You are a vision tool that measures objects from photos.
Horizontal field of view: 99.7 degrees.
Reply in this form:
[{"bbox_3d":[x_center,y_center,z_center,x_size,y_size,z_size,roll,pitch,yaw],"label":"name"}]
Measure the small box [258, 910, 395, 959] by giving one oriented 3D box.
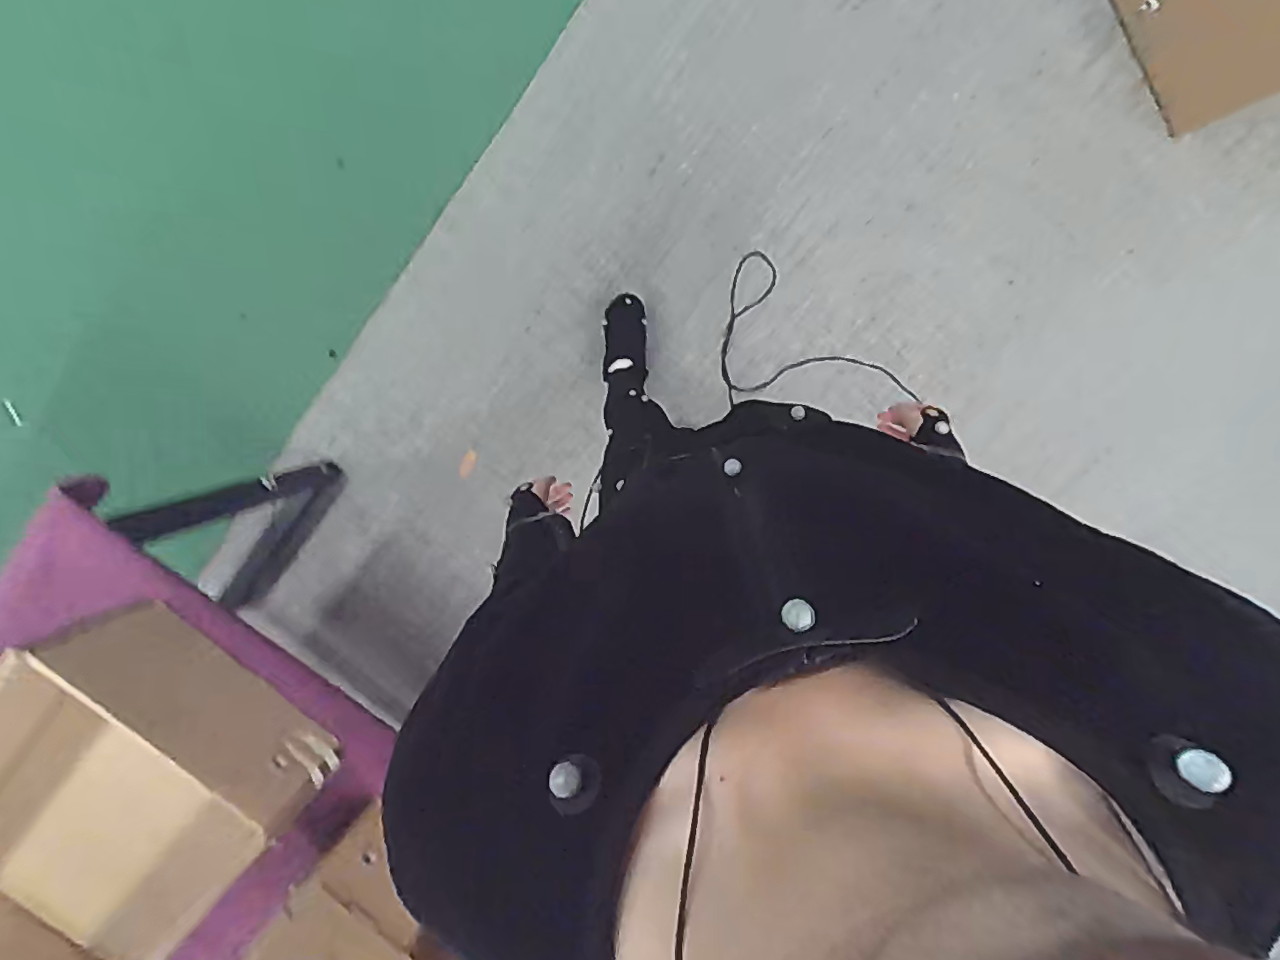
[{"bbox_3d":[-0.432,0.690,0.671,0.179,0.176,0.168,42,101,-4],"label":"small box"}]
